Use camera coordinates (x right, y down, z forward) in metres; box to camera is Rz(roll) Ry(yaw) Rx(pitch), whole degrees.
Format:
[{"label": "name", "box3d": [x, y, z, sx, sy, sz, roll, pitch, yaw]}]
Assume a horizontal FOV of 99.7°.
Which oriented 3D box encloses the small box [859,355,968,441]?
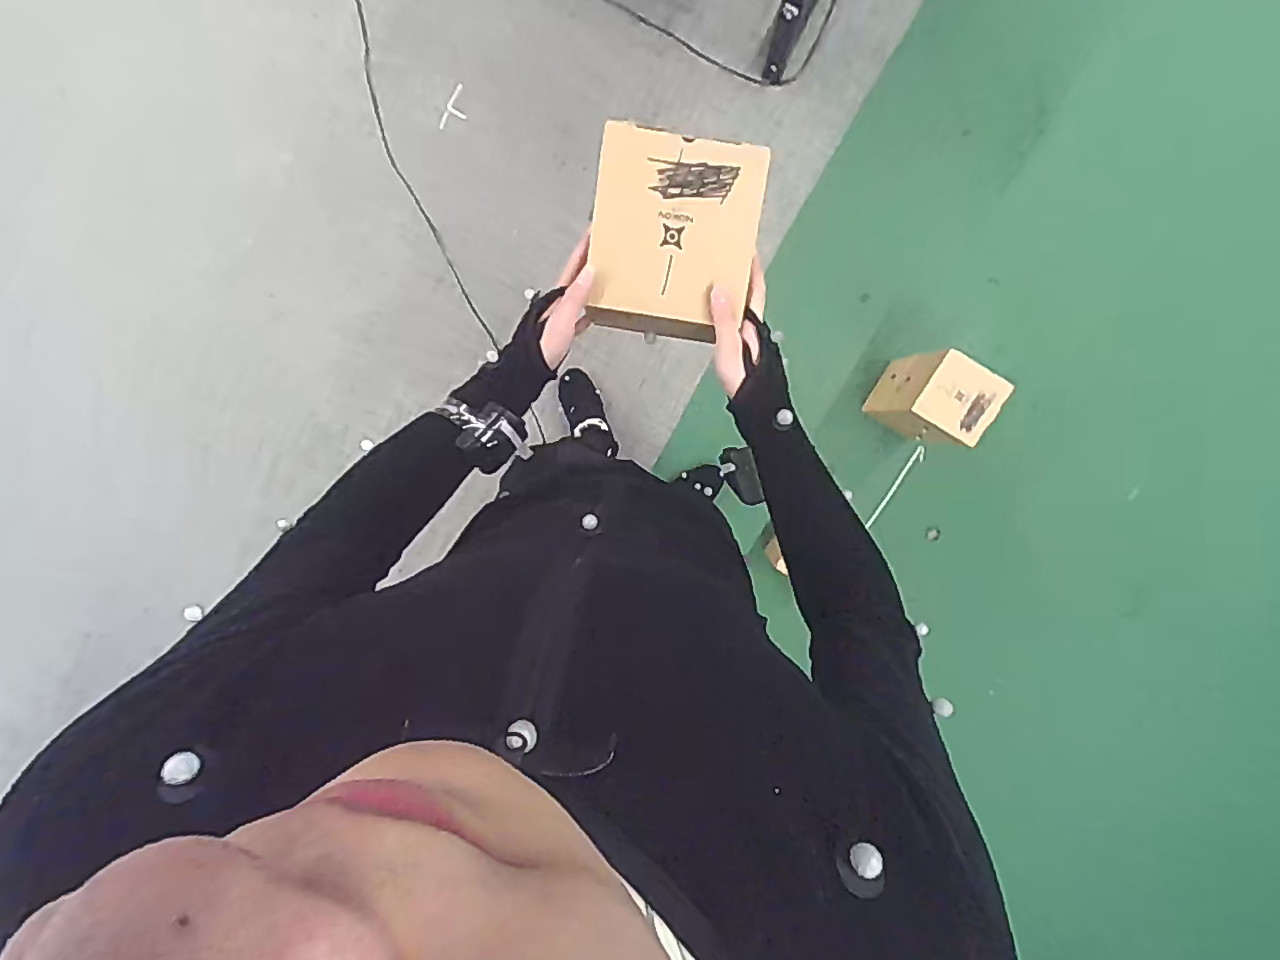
[{"label": "small box", "box3d": [0.740, -0.220, 1.487, 0.179, 0.176, 0.168, 30, 97, -3]}]
